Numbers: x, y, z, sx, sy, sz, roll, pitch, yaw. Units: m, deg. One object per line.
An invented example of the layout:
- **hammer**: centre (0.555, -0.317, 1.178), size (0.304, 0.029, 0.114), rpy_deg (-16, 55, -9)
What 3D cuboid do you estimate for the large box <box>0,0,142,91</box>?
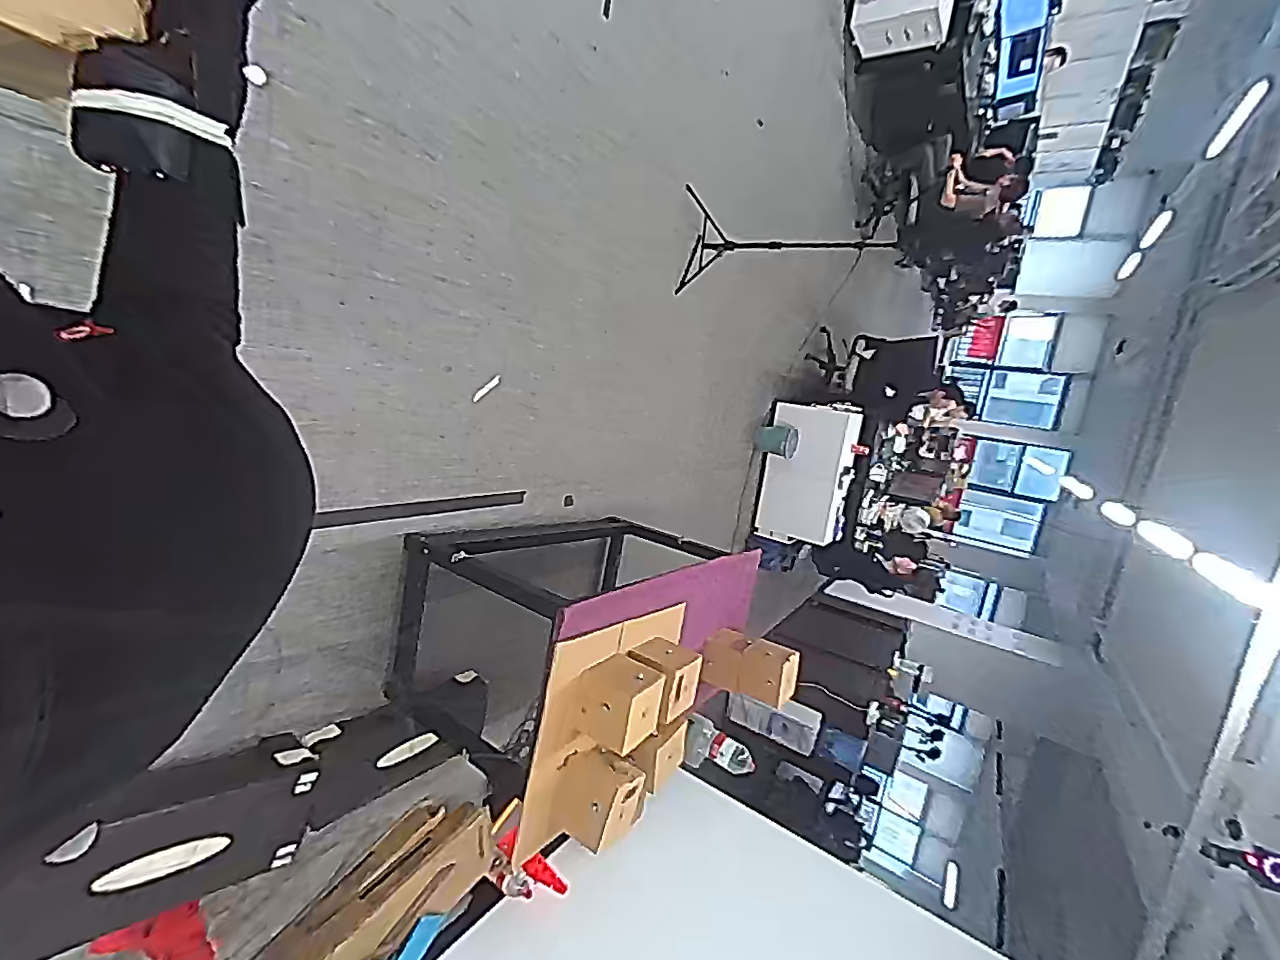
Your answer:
- **large box**: centre (-0.537, -0.459, 0.250), size (0.408, 0.320, 0.320), rpy_deg (-3, 113, -57)
